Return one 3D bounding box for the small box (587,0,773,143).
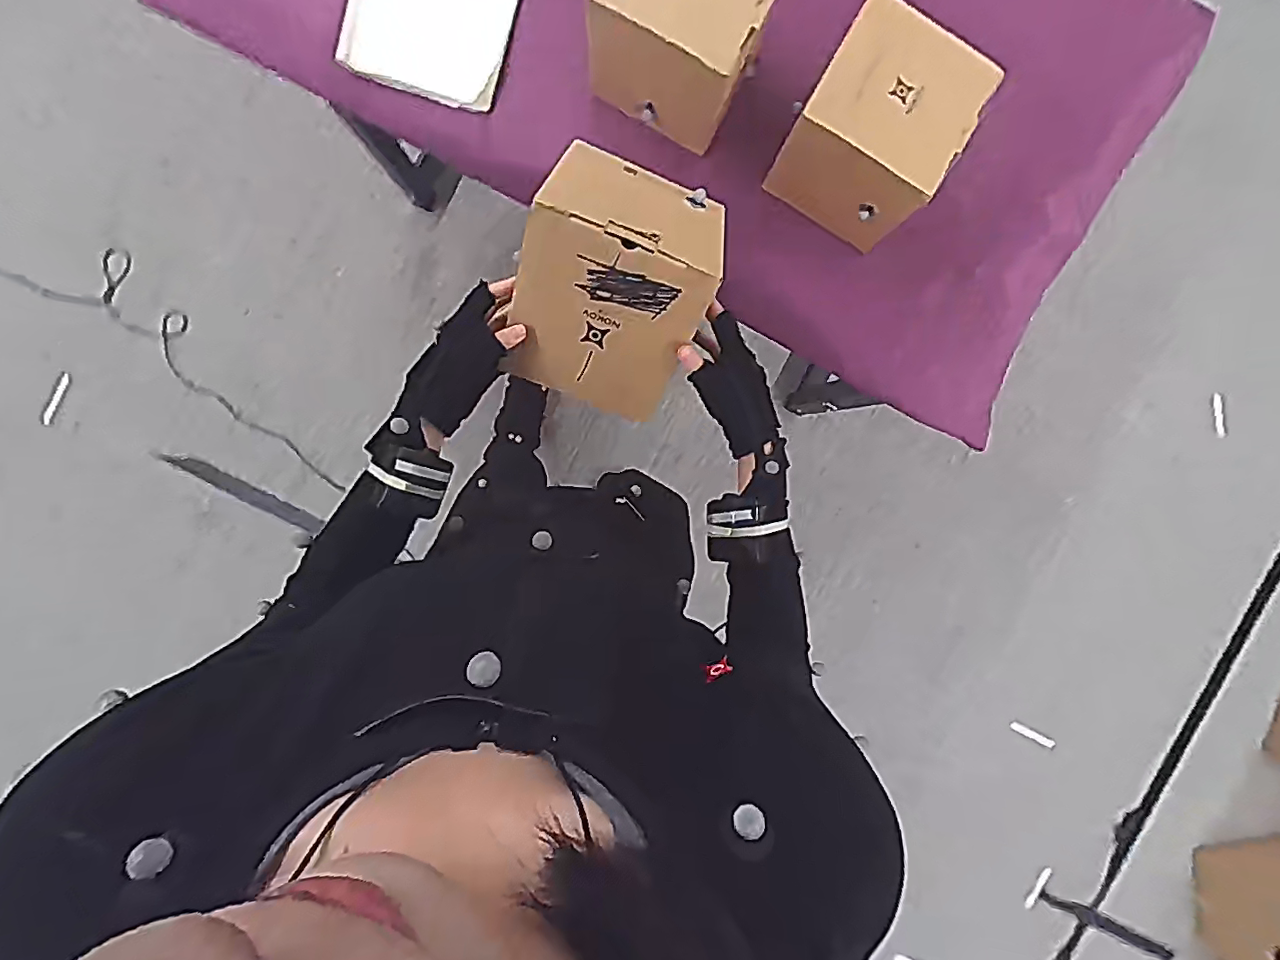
[{"bbox_3d":[0.051,-0.549,0.650,0.179,0.176,0.168,27,91,-5],"label":"small box"}]

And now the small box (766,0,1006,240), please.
[{"bbox_3d":[0.287,-0.430,0.671,0.179,0.176,0.168,30,90,-3],"label":"small box"}]
